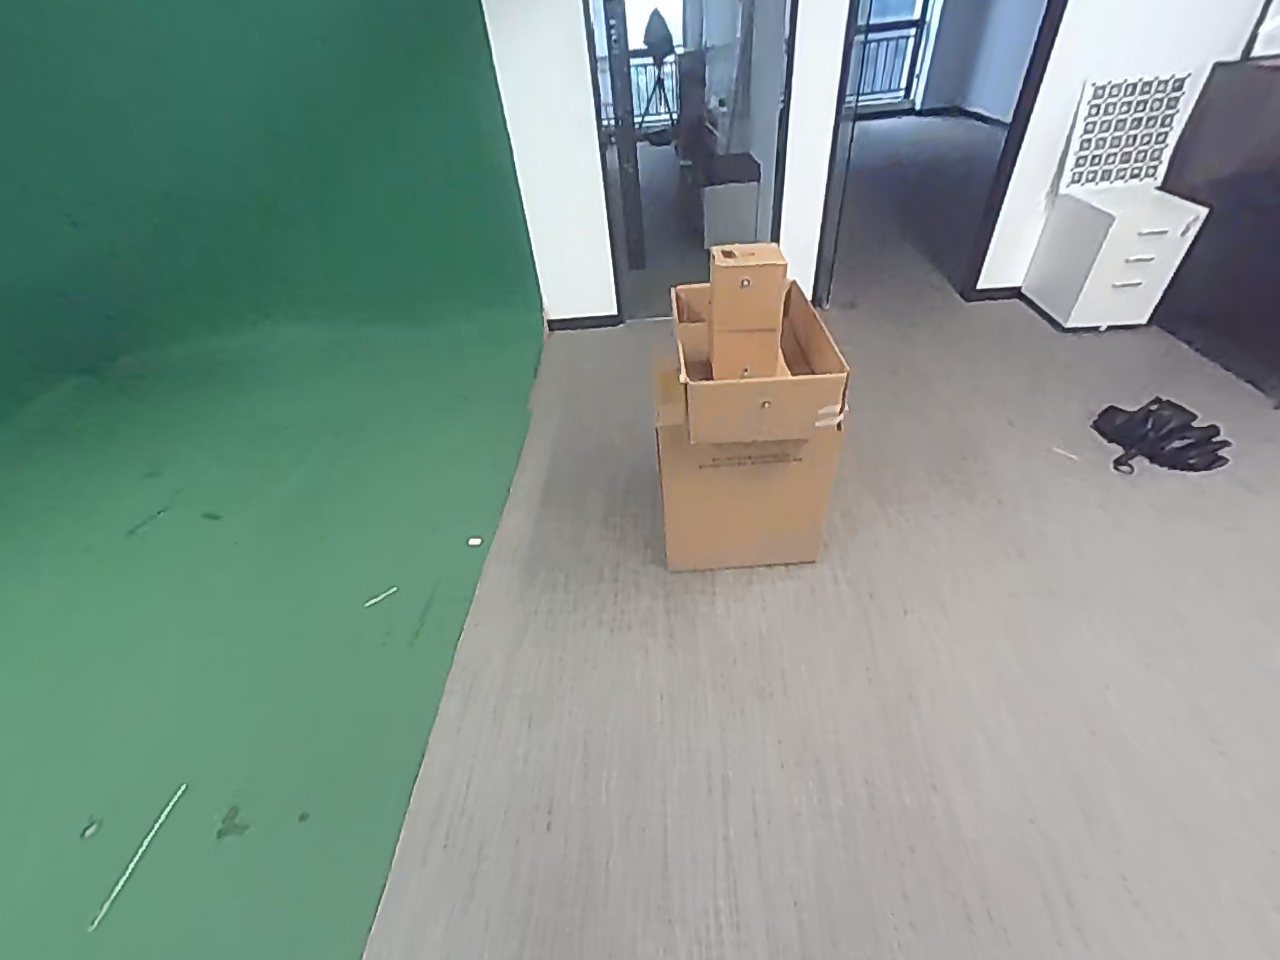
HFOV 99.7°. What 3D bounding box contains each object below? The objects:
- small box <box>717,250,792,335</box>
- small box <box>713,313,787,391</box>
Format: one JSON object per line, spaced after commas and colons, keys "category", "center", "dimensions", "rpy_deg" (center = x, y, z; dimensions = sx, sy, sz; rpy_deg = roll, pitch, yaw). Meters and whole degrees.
{"category": "small box", "center": [0.292, -0.488, 1.416], "dimensions": [0.179, 0.176, 0.168], "rpy_deg": [0, 39, 4]}
{"category": "small box", "center": [0.301, -0.363, 1.522], "dimensions": [0.179, 0.176, 0.168], "rpy_deg": [-2, 38, 2]}
